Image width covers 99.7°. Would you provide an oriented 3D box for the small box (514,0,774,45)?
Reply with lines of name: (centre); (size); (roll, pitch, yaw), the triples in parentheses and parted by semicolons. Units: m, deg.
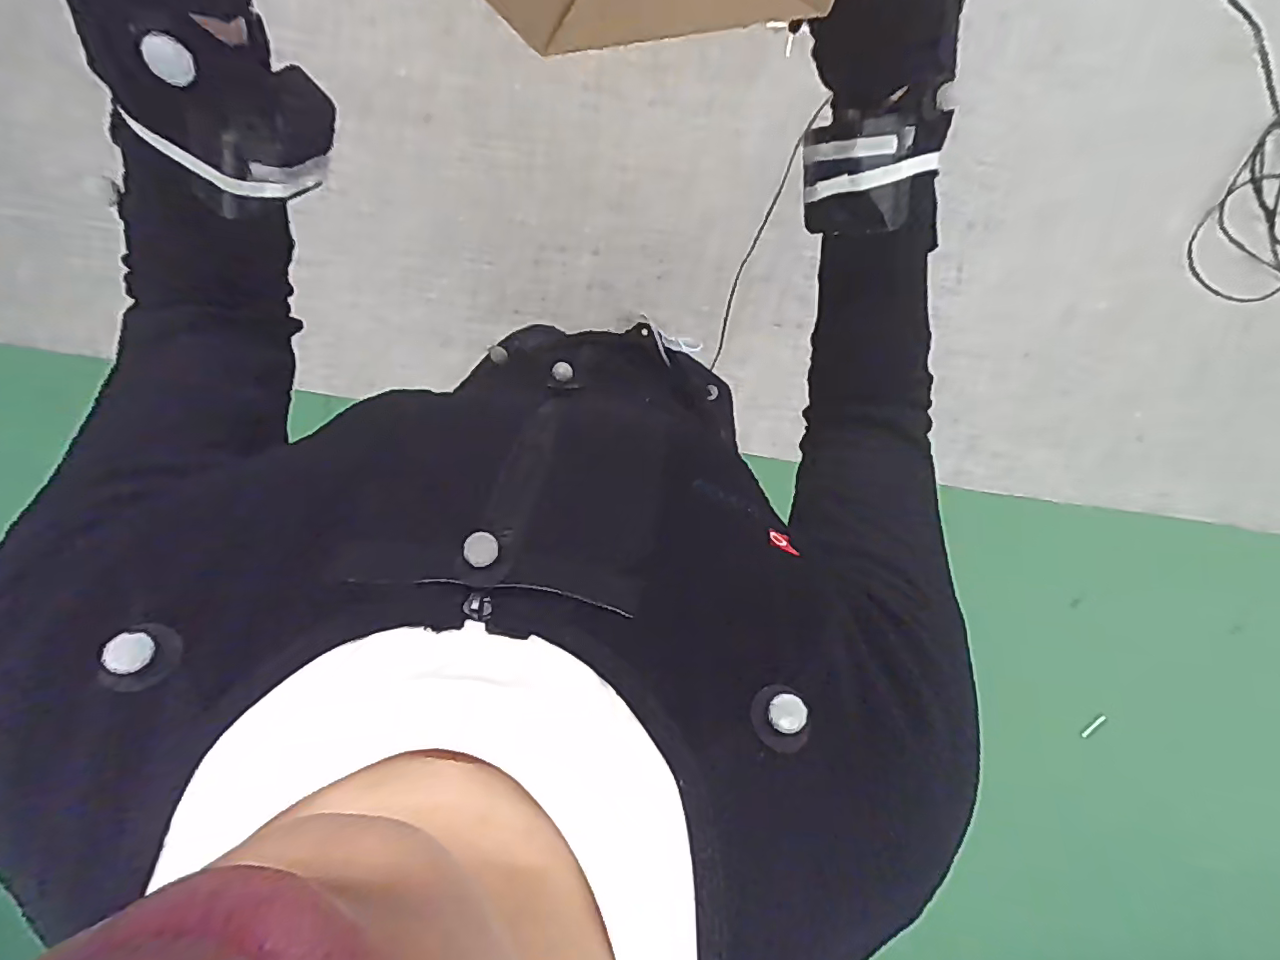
small box: (0.007, -0.300, 0.205); (0.168, 0.179, 0.176); (-1, 112, 9)
